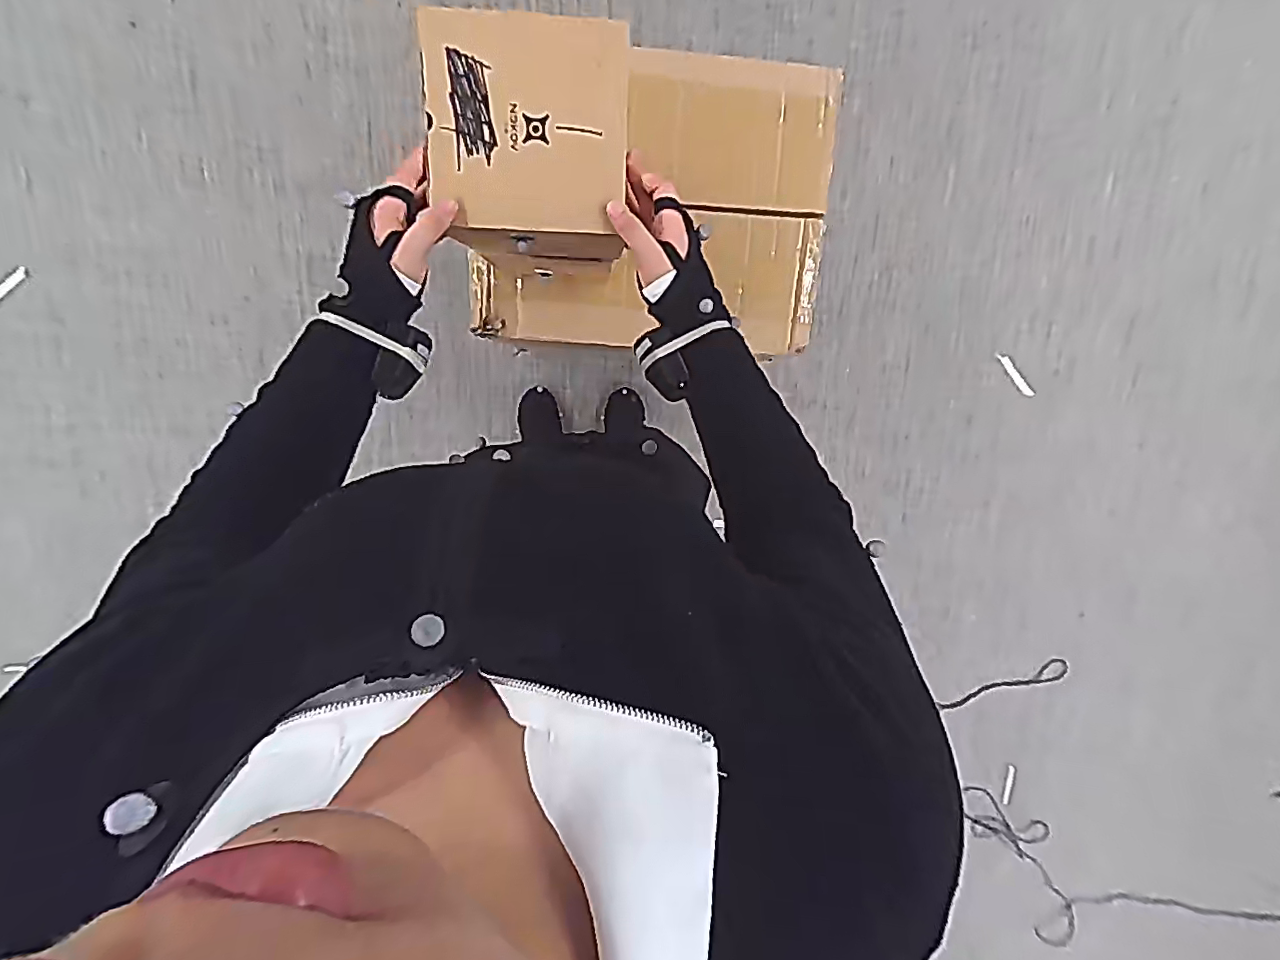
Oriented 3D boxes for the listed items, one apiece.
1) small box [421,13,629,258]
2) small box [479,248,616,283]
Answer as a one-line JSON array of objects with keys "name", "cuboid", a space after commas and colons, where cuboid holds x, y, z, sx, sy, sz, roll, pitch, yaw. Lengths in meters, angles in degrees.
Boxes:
[{"name": "small box", "cuboid": [-0.102, -0.325, 0.548, 0.179, 0.176, 0.168, 1, 105, -3]}, {"name": "small box", "cuboid": [-0.112, -0.367, 0.711, 0.168, 0.176, 0.179, 2, 104, -3]}]
